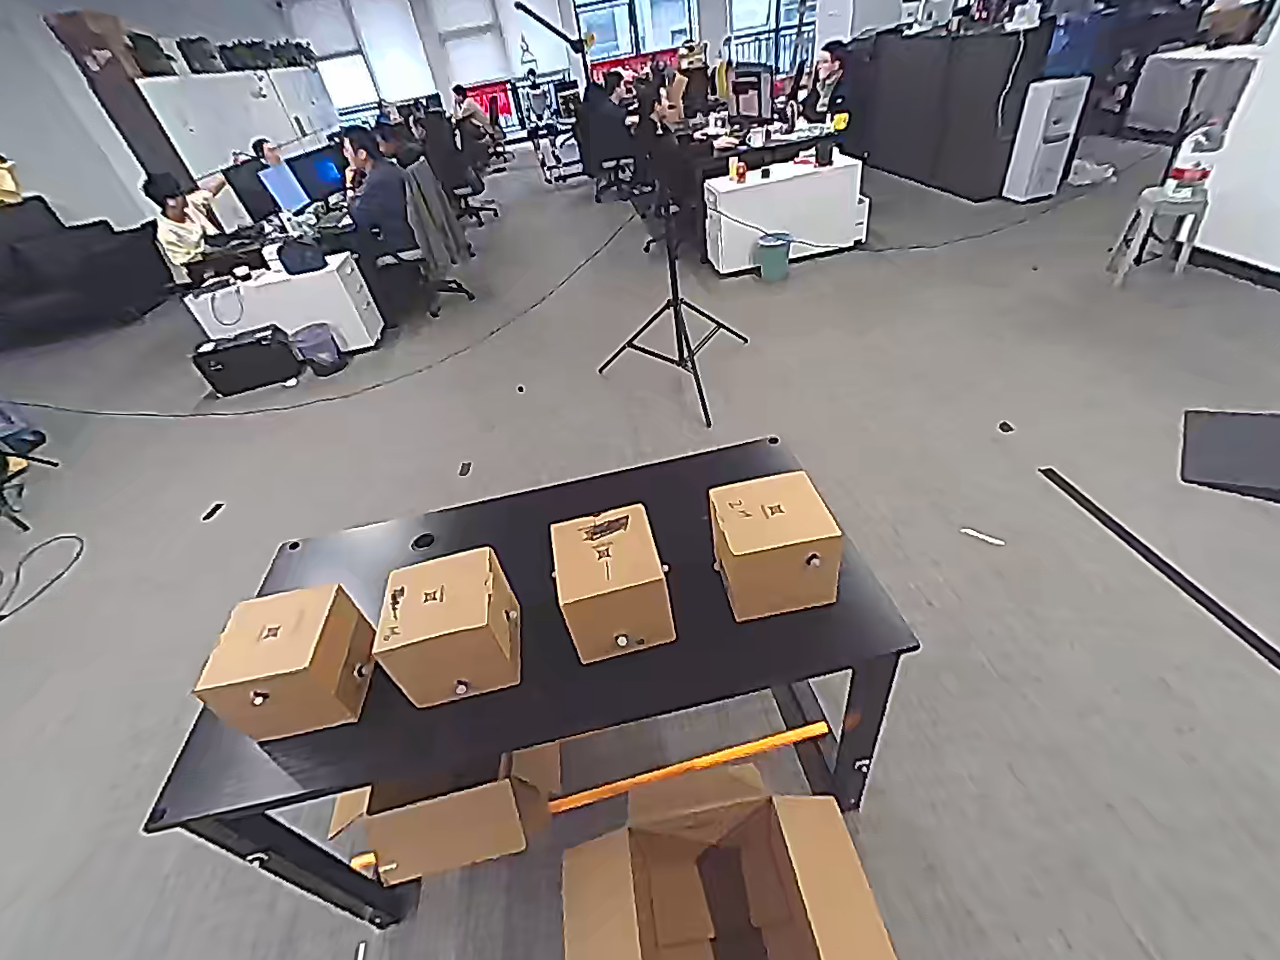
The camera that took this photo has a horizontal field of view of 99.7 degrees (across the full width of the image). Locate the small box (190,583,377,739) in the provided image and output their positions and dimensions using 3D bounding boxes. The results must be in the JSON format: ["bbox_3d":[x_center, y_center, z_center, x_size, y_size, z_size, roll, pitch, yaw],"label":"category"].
[{"bbox_3d":[-0.565,0.301,0.890,0.179,0.176,0.168,-11,40,-2],"label":"small box"}]

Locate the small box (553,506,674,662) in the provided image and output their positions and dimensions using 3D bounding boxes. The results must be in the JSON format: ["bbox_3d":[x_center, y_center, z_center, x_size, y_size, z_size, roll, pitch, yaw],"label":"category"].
[{"bbox_3d":[-0.045,0.176,0.921,0.168,0.176,0.179,-14,40,-3],"label":"small box"}]

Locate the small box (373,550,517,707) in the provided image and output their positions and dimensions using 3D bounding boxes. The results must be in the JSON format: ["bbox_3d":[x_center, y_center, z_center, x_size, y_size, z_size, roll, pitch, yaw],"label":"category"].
[{"bbox_3d":[-0.307,0.246,0.898,0.179,0.176,0.168,-13,39,-4],"label":"small box"}]

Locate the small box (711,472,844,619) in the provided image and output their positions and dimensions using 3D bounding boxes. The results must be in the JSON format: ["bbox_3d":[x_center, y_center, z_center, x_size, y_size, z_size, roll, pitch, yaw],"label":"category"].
[{"bbox_3d":[0.227,0.113,0.929,0.179,0.176,0.168,-11,38,-1],"label":"small box"}]
